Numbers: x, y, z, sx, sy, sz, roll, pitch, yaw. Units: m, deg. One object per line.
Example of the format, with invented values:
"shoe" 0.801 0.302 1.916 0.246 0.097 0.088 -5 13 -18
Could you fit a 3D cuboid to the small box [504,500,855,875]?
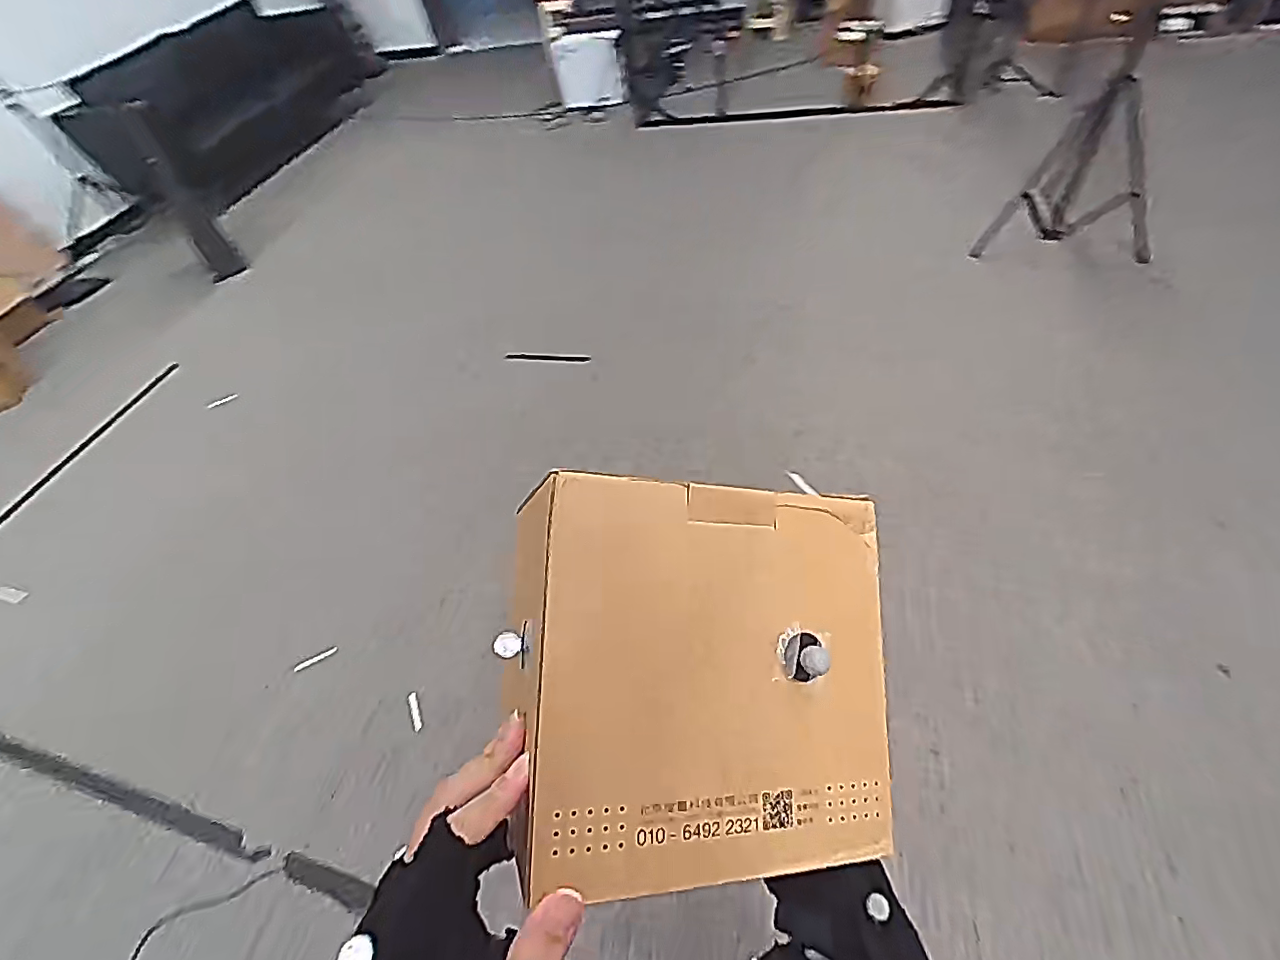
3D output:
"small box" 0.009 0.110 0.329 0.168 0.179 0.176 5 78 -17
